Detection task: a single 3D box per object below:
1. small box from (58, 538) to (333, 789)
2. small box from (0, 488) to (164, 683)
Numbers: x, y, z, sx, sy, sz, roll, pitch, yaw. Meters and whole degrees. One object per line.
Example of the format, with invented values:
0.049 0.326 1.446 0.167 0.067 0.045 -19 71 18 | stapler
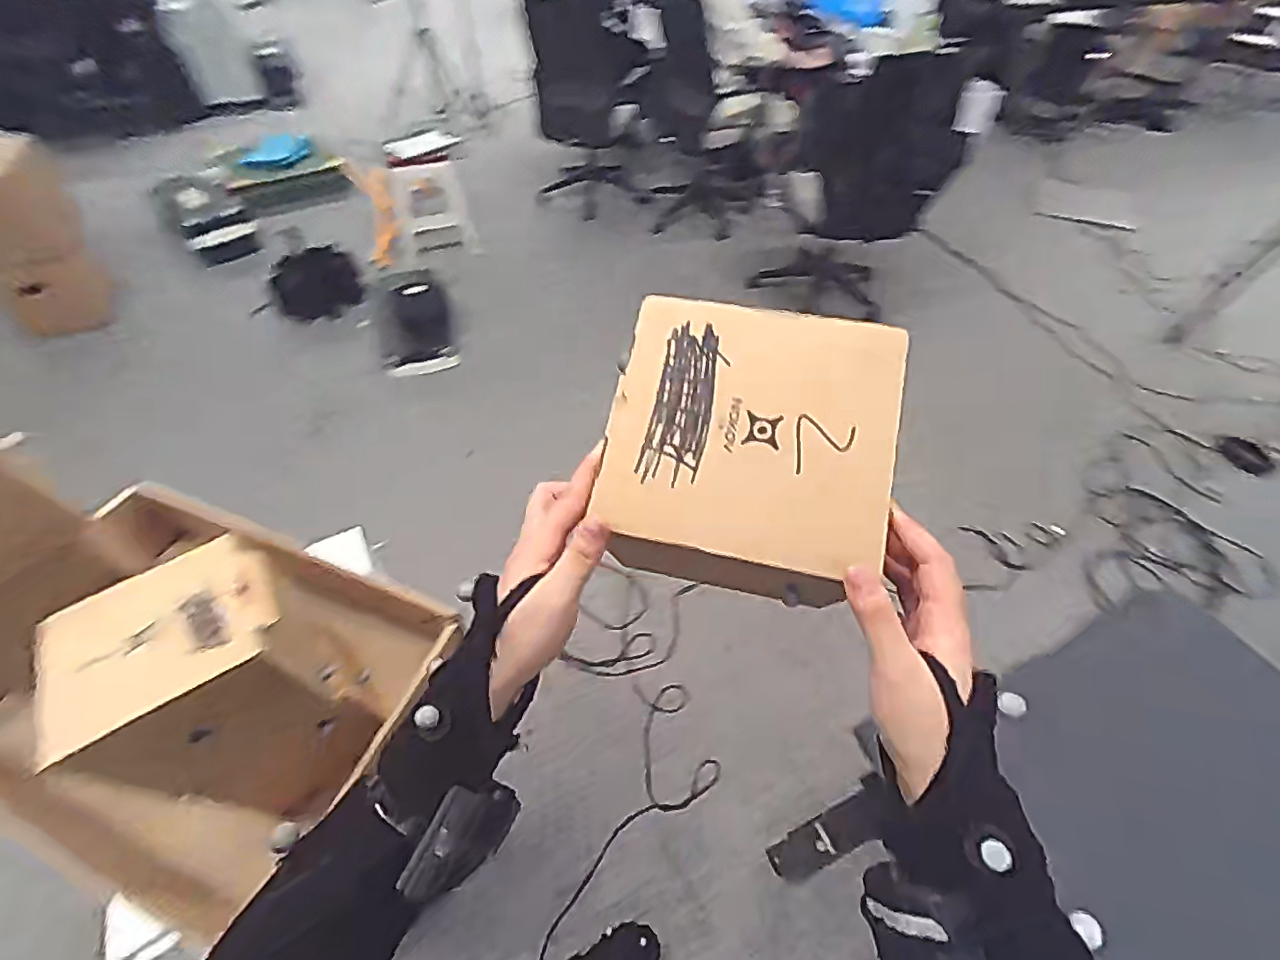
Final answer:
-0.468 0.202 0.595 0.179 0.176 0.168 -29 55 -19 | small box
-0.730 0.117 0.661 0.179 0.176 0.168 33 59 21 | small box
